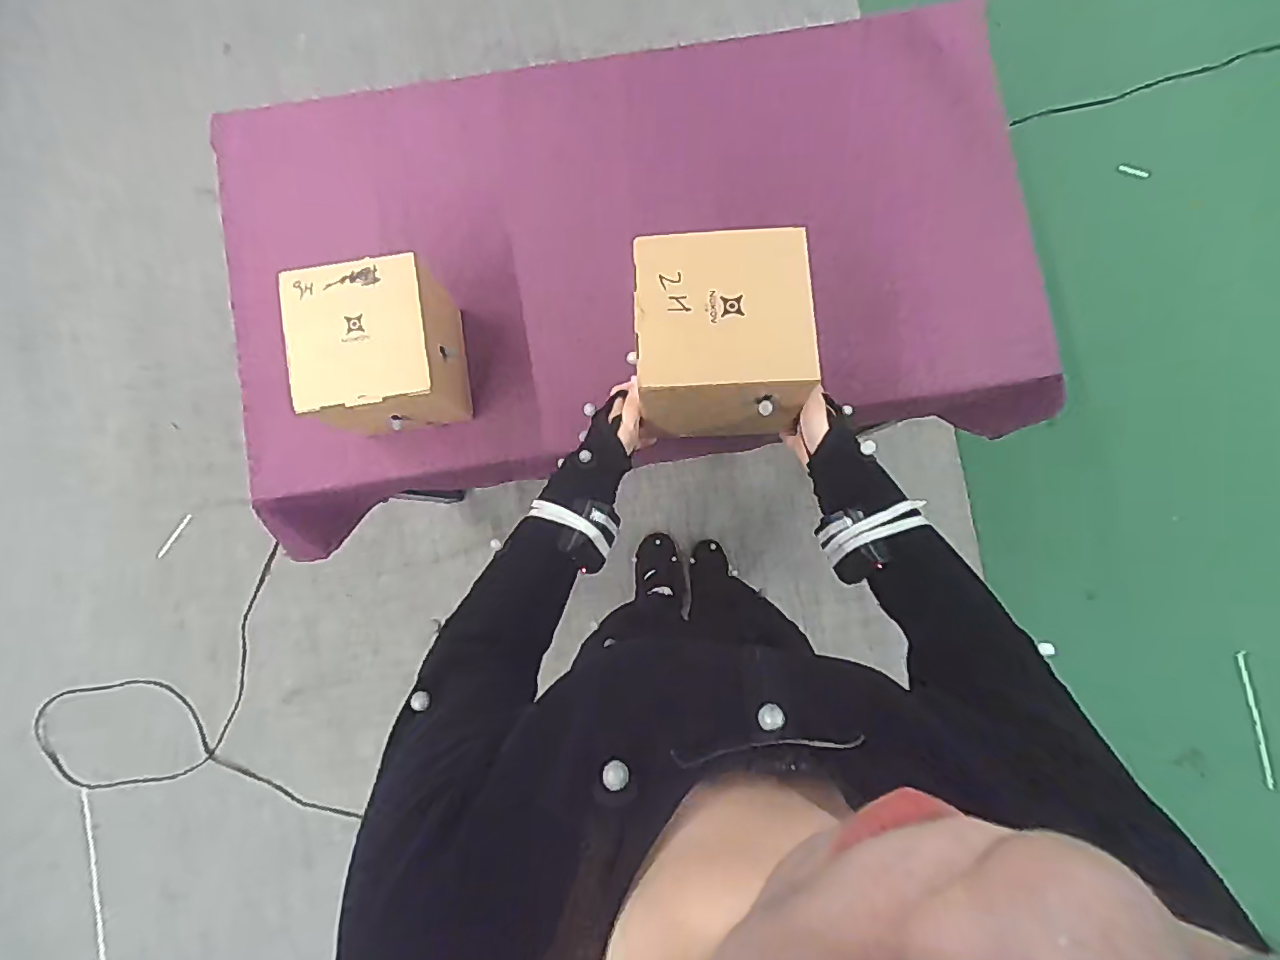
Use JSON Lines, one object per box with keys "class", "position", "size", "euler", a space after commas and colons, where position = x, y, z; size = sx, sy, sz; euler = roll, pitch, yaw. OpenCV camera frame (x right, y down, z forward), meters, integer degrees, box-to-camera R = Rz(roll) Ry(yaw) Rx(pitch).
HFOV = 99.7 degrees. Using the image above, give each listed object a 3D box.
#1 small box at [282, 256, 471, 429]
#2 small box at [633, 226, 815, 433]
{"class": "small box", "position": [-0.338, -0.169, 0.725], "size": [0.168, 0.176, 0.179], "euler": [-9, 86, -1]}
{"class": "small box", "position": [0.084, -0.157, 0.612], "size": [0.179, 0.176, 0.168], "euler": [-2, 76, 4]}
